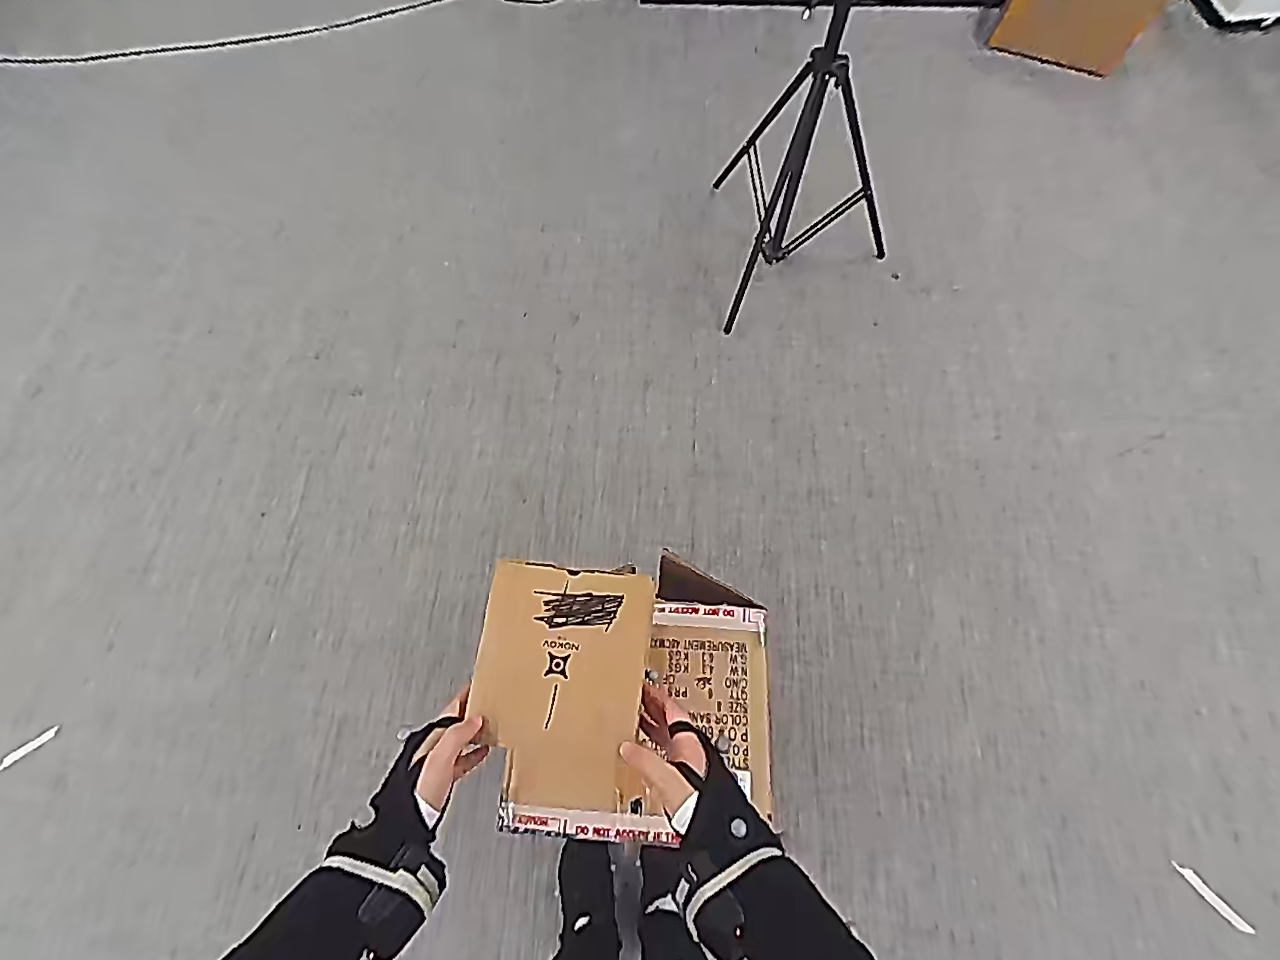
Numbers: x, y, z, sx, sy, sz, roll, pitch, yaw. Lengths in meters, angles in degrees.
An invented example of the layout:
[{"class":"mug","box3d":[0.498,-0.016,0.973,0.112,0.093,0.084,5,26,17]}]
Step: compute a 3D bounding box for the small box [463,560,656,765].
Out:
[{"class":"small box","box3d":[-0.074,0.199,0.604,0.168,0.176,0.179,6,71,4]}]
